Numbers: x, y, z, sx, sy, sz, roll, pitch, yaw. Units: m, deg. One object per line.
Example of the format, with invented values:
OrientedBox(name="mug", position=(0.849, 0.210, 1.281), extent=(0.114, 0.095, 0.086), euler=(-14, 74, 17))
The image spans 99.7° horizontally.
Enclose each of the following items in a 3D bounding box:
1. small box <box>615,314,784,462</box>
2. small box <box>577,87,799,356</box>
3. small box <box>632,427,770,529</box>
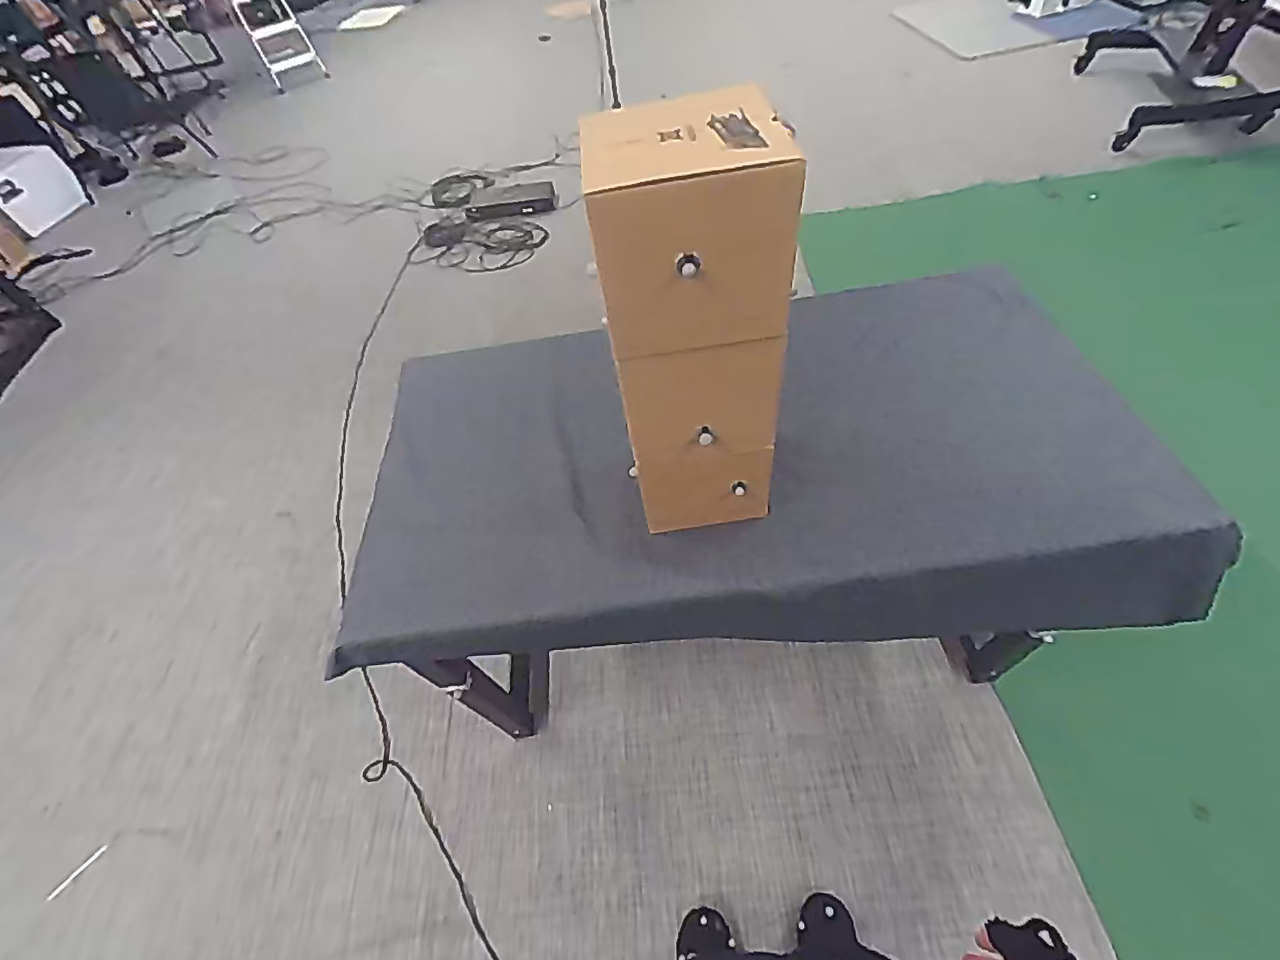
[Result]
OrientedBox(name="small box", position=(0.061, -0.144, 0.660), extent=(0.179, 0.176, 0.168), euler=(-11, 53, 1))
OrientedBox(name="small box", position=(0.041, -0.245, 0.528), extent=(0.179, 0.176, 0.168), euler=(-8, 52, 3))
OrientedBox(name="small box", position=(0.081, -0.047, 0.788), extent=(0.179, 0.176, 0.168), euler=(-10, 52, 3))
